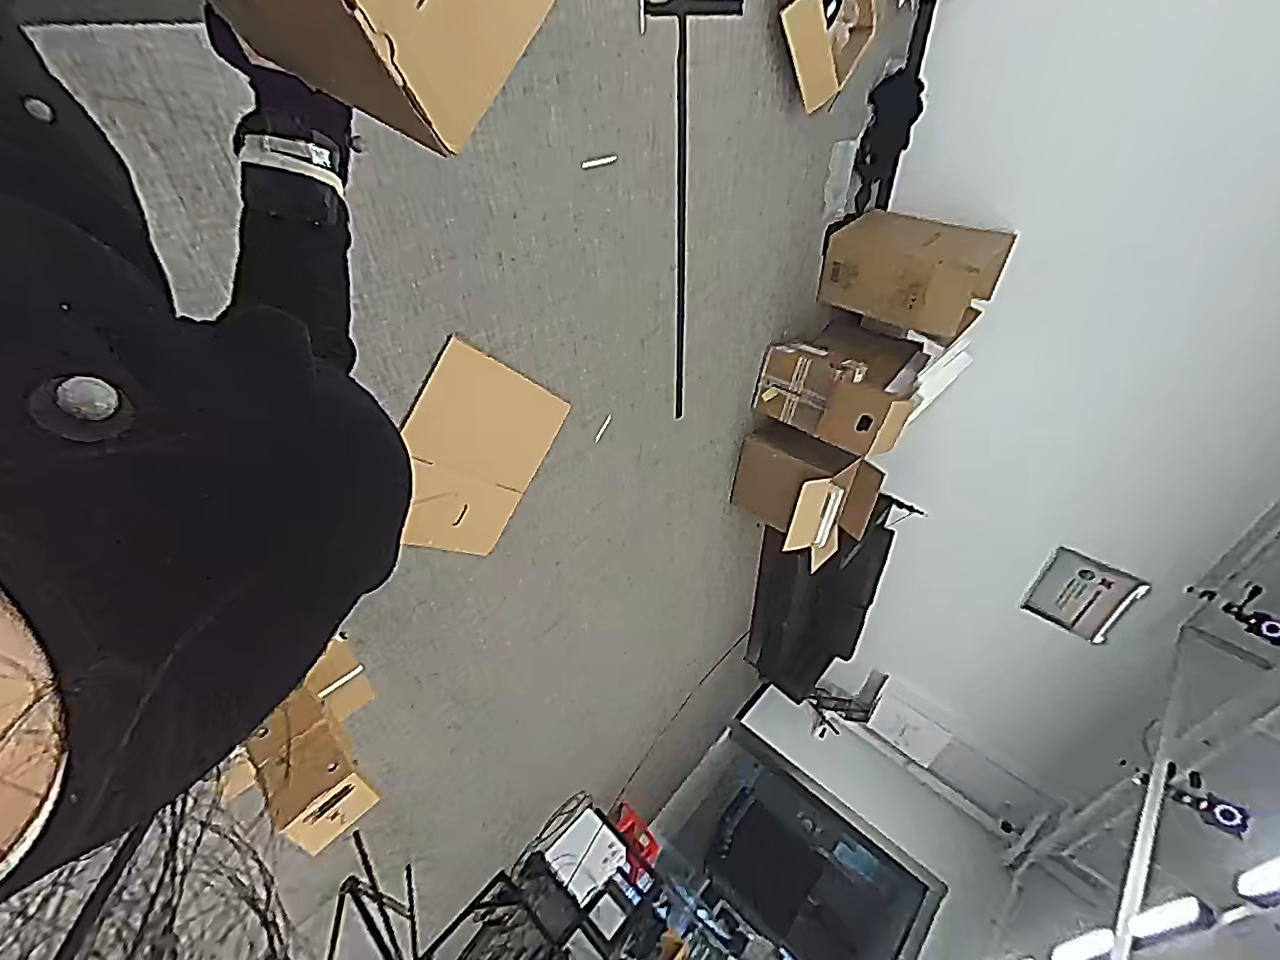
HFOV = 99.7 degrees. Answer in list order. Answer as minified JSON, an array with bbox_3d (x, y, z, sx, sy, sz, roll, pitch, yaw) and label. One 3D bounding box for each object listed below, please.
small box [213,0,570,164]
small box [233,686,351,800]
[{"bbox_3d":[-0.150,-0.331,0.293,0.179,0.176,0.168,-59,173,-2],"label":"small box"},{"bbox_3d":[-0.875,0.653,1.361,0.168,0.176,0.179,-38,142,-30],"label":"small box"}]
